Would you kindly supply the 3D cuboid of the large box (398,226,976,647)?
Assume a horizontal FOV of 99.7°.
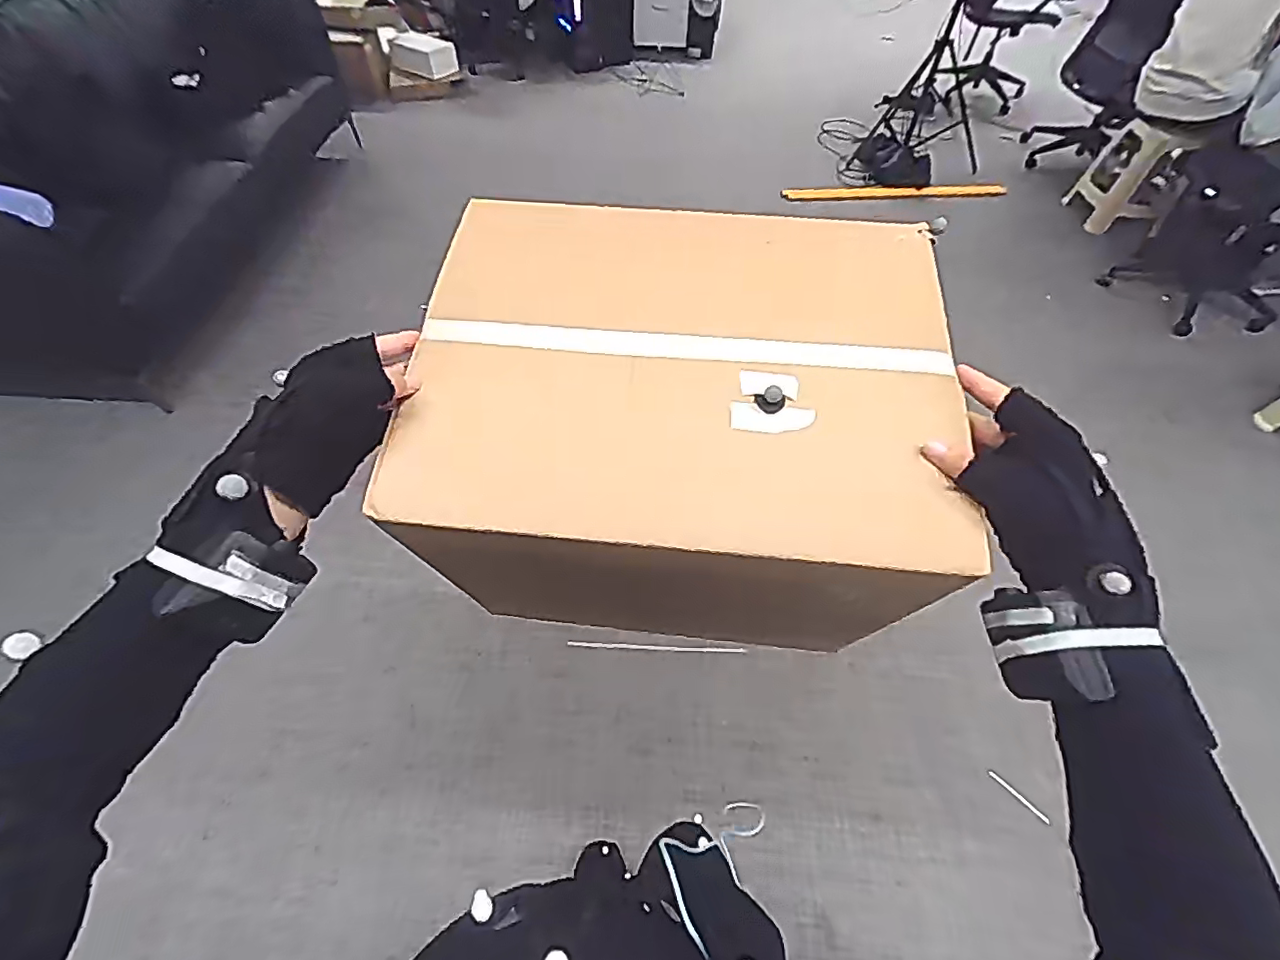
[{"bbox_3d":[0.039,-0.023,0.564,0.408,0.320,0.320,5,64,3],"label":"large box"}]
